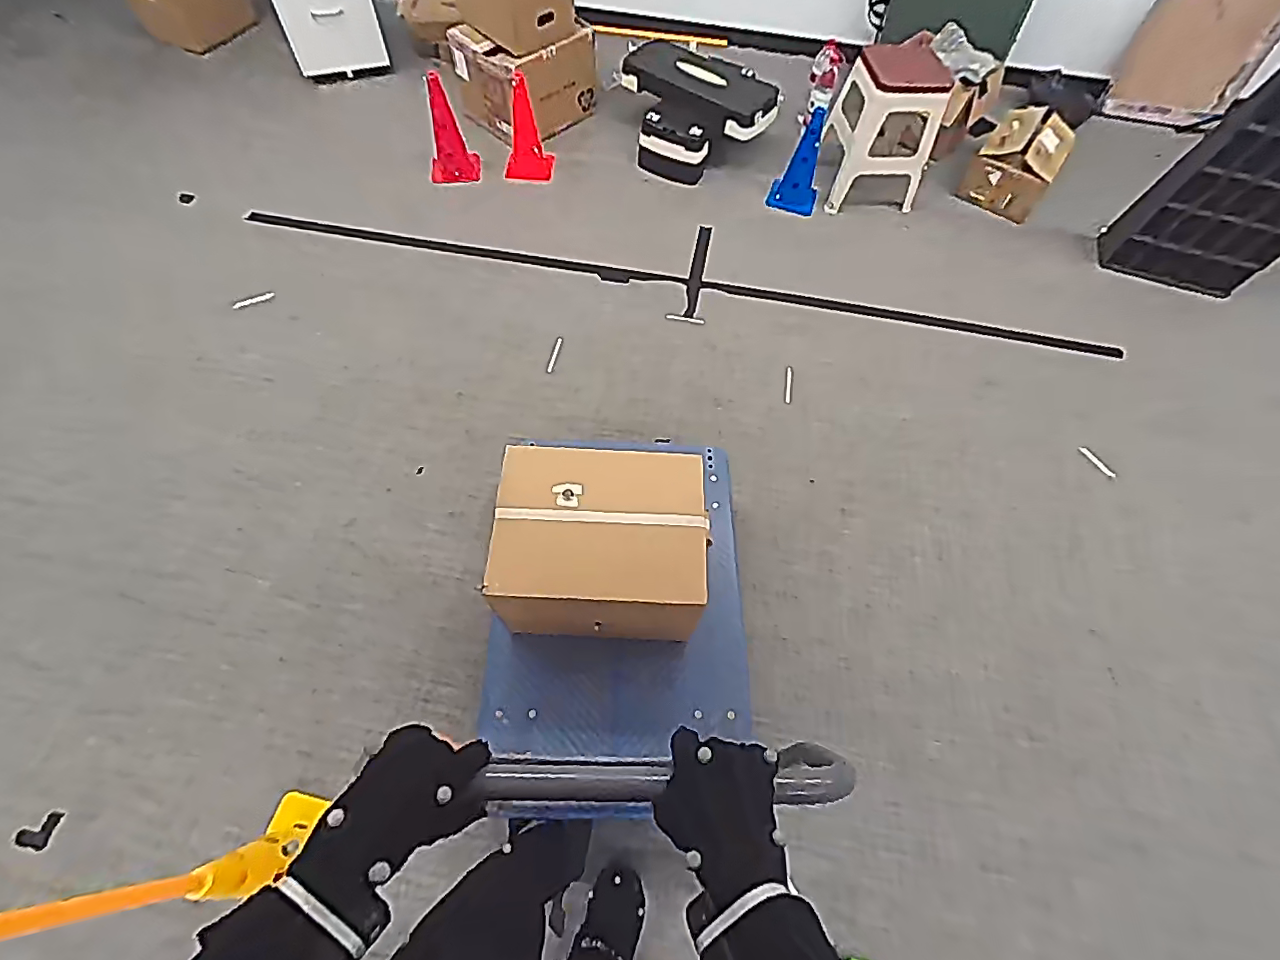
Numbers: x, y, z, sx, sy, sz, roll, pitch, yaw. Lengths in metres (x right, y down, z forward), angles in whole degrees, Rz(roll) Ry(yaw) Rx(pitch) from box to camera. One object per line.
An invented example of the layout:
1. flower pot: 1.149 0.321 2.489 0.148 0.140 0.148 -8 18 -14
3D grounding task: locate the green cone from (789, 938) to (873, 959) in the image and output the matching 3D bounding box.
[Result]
1. green cone: 0.397 0.969 0.915 0.202 0.368 0.200 15 62 3

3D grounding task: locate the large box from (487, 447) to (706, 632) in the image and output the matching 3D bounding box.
1. large box: -0.077 0.143 1.172 0.408 0.320 0.320 3 62 0
